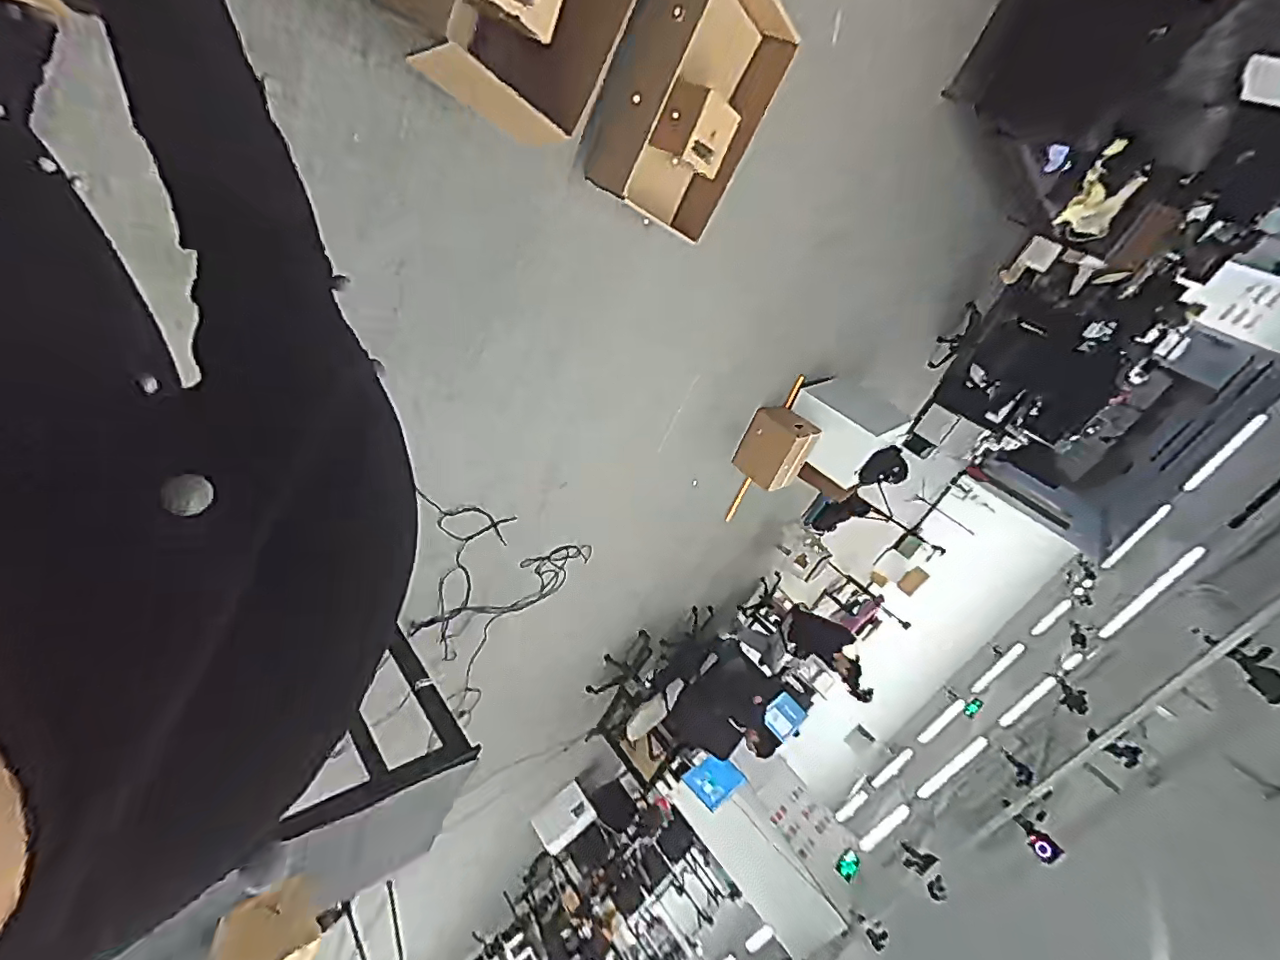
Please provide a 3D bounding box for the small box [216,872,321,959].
[{"bbox_3d":[-0.927,1.131,1.343,0.168,0.176,0.179,-1,127,-51],"label":"small box"}]
